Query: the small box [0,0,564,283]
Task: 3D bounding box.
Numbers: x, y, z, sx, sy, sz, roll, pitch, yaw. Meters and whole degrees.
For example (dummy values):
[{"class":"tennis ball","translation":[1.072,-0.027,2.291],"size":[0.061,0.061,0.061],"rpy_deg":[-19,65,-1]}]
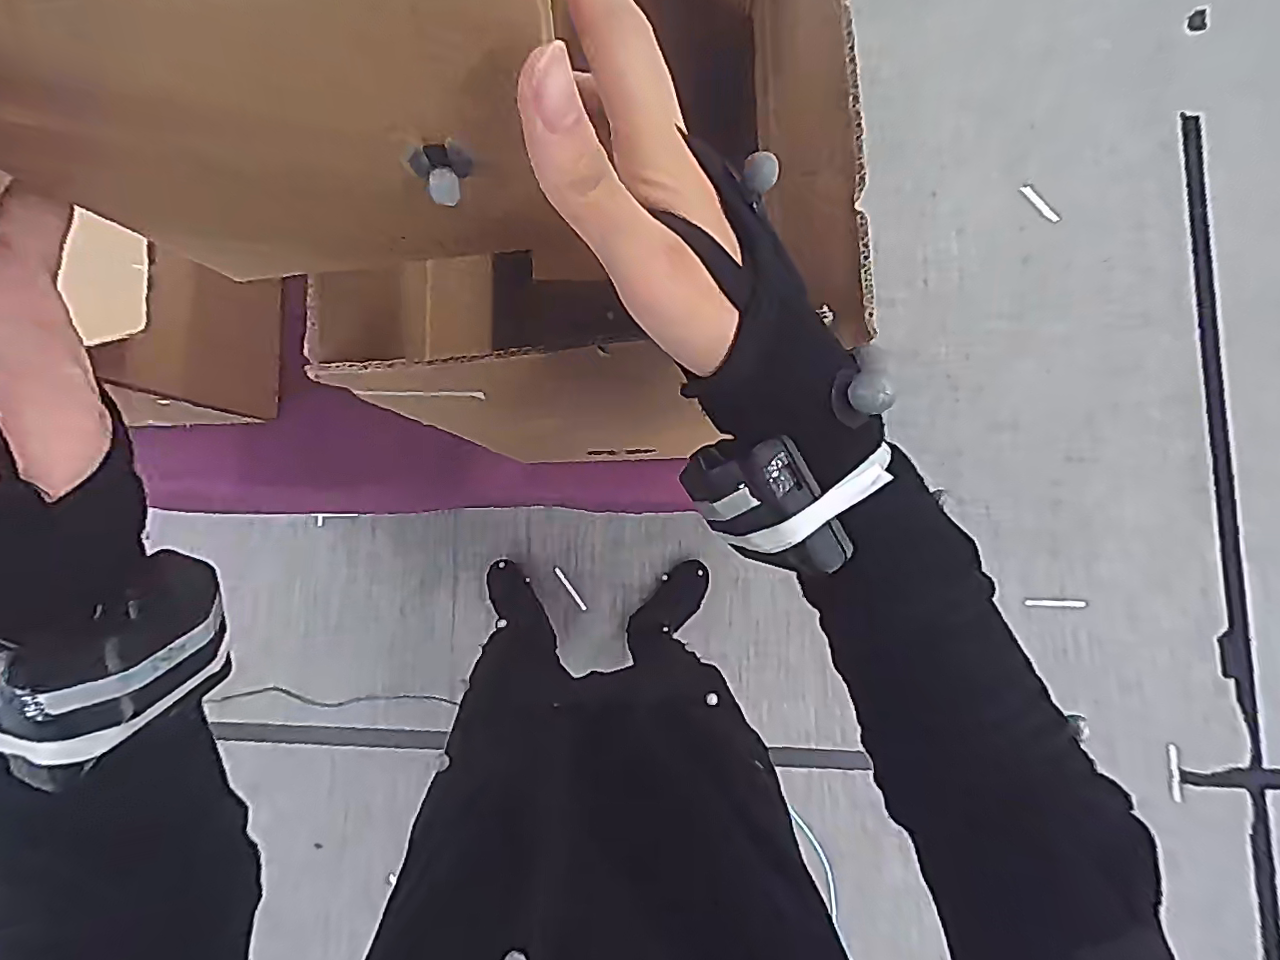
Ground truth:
[{"class":"small box","translation":[-0.125,-0.187,0.201],"size":[0.179,0.176,0.168],"rpy_deg":[-7,92,-2]}]
